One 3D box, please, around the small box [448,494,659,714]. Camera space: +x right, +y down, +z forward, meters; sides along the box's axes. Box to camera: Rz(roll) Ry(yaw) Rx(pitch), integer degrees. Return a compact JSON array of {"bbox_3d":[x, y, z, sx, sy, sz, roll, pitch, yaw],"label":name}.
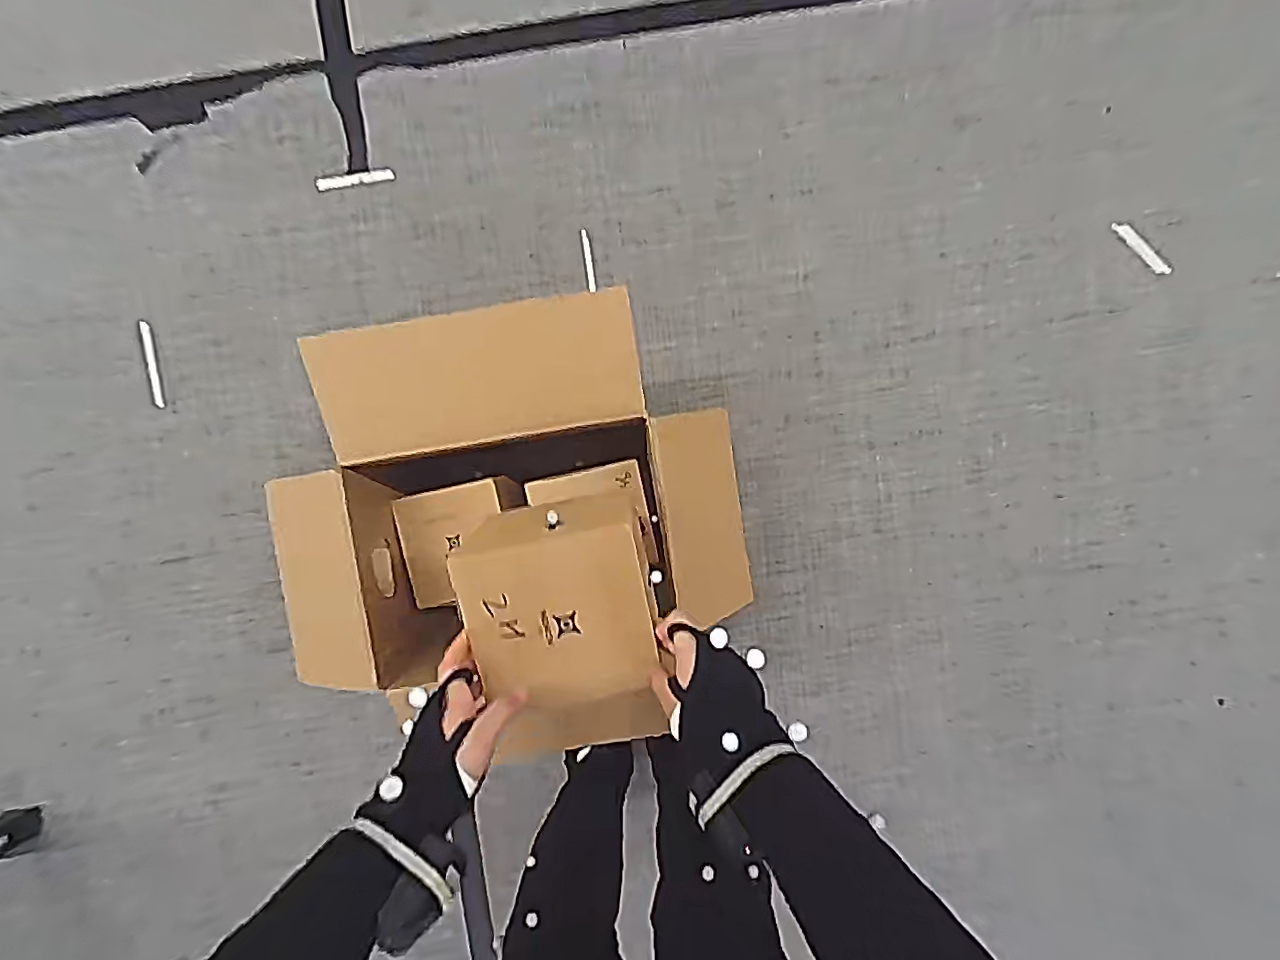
[{"bbox_3d":[-0.082,0.121,0.592,0.179,0.176,0.168,-11,101,2],"label":"small box"}]
